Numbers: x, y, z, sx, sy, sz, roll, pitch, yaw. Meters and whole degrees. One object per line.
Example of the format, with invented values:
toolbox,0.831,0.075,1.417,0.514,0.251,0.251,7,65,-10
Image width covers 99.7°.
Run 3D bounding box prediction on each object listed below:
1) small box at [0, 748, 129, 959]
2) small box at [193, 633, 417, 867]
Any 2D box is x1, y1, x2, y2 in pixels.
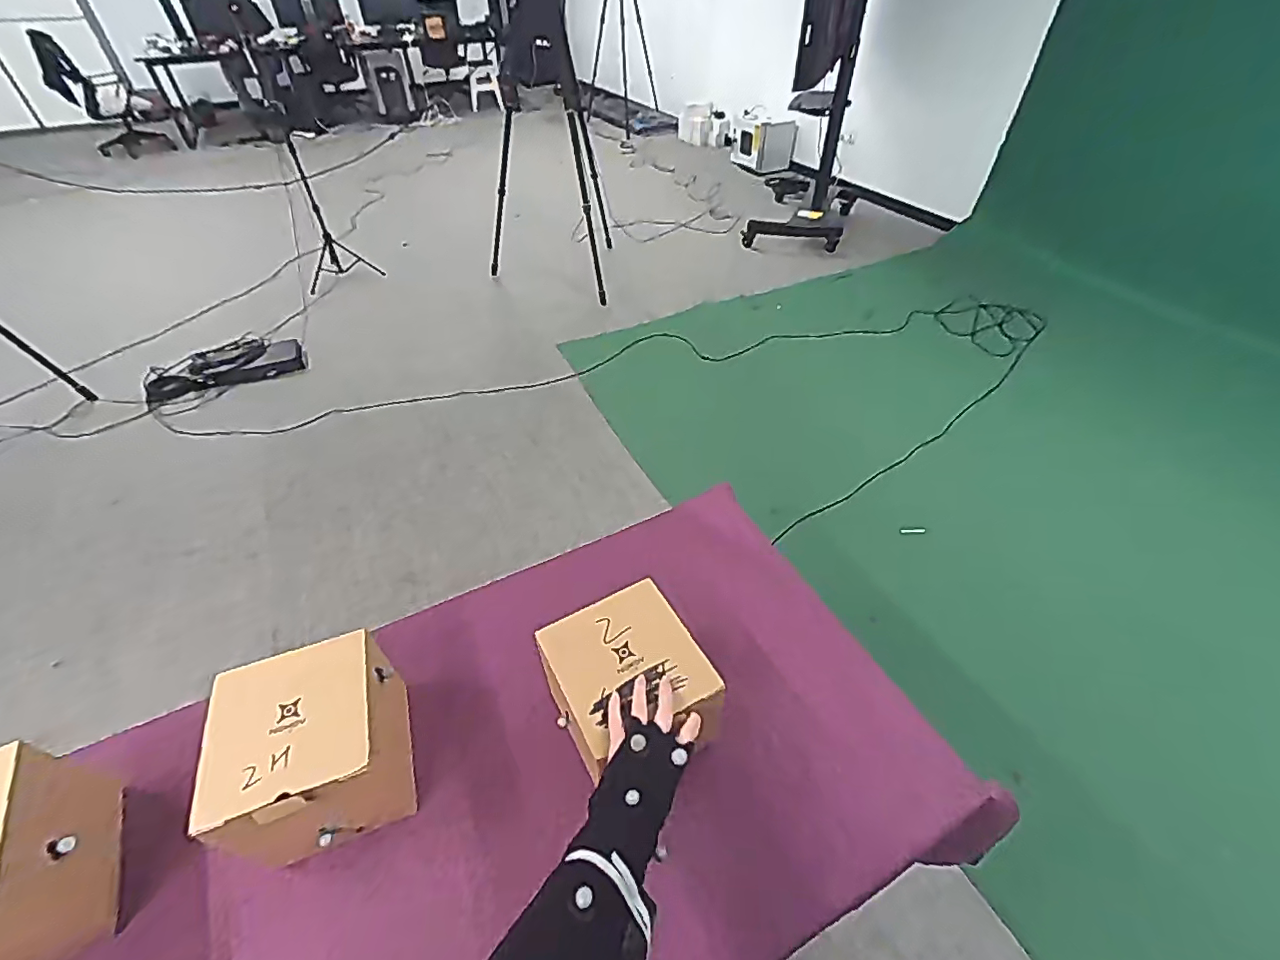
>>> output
small box,-0.677,0.422,0.555,0.168,0.176,0.179,-24,50,-22
small box,-0.381,0.322,0.649,0.168,0.176,0.179,-16,47,-14
